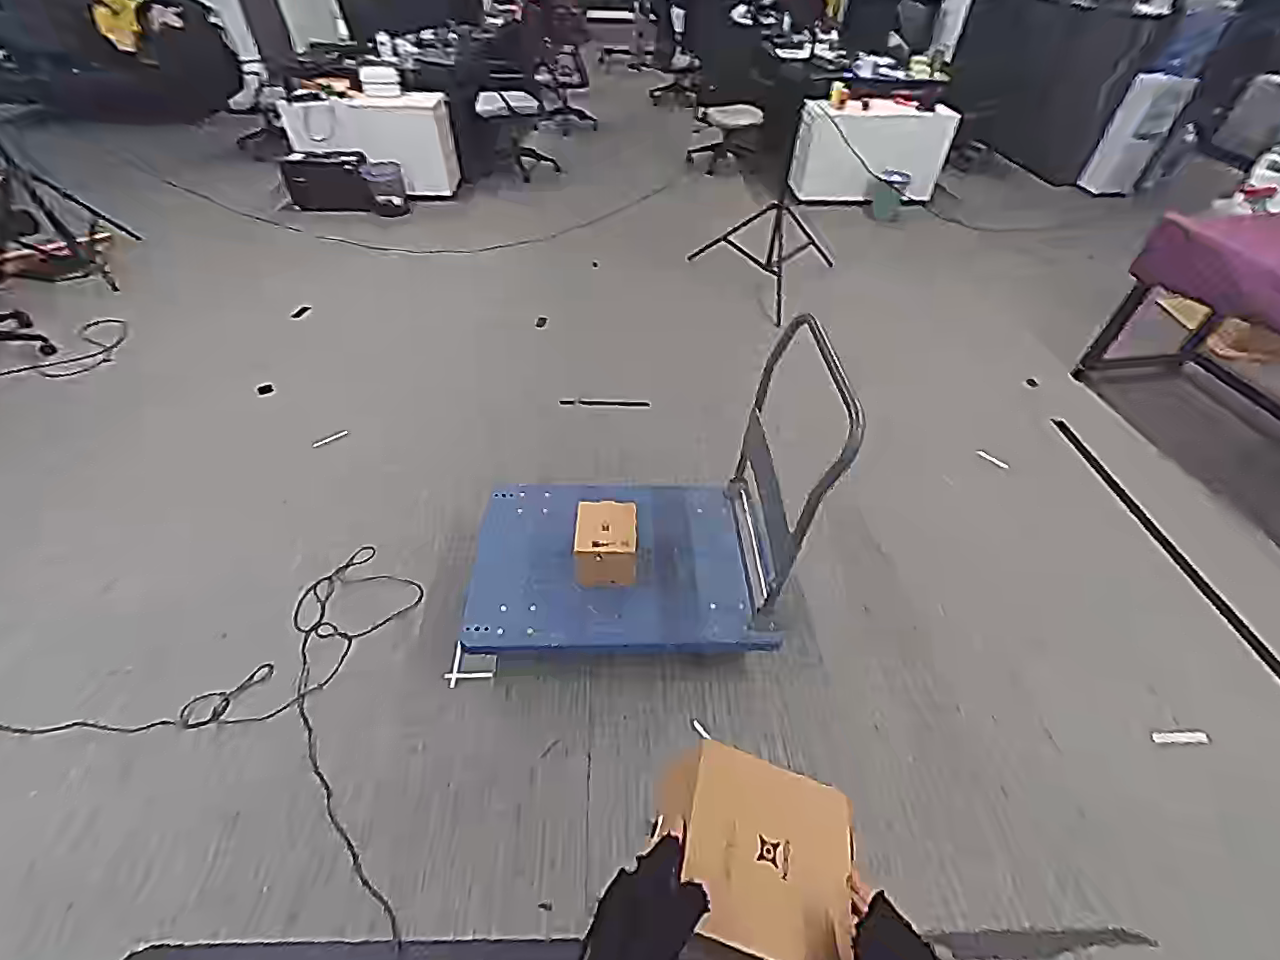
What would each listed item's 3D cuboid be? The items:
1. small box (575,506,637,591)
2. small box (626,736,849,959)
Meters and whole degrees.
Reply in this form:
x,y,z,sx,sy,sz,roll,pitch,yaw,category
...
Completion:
x,y,z,sx,sy,sz,roll,pitch,yaw,category
-0.093,0.194,1.545,0.168,0.176,0.179,1,45,-1,small box
0.103,0.415,0.588,0.179,0.176,0.168,21,43,0,small box
